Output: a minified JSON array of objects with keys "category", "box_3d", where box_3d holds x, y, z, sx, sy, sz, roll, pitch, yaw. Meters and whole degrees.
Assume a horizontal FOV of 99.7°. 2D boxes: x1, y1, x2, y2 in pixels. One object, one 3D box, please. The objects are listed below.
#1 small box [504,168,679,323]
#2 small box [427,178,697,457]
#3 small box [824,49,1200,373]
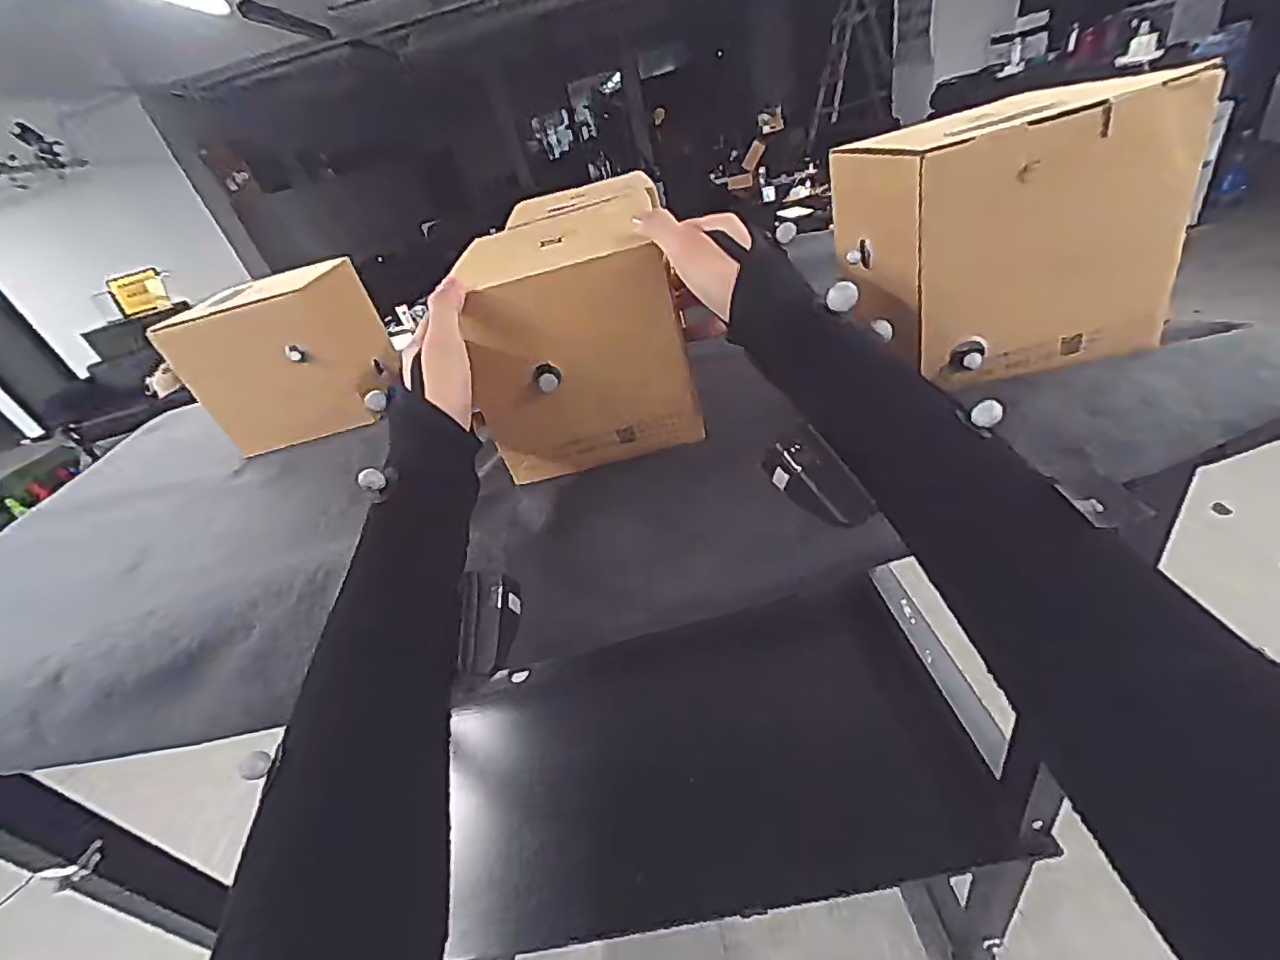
[{"category":"small box","box_3d":[-0.054,-0.274,0.680,0.168,0.176,0.179,-14,33,3]},{"category":"small box","box_3d":[-0.052,-0.136,0.471,0.168,0.176,0.179,-13,37,6]},{"category":"small box","box_3d":[0.257,-0.197,0.423,0.168,0.176,0.179,-13,30,6]}]
